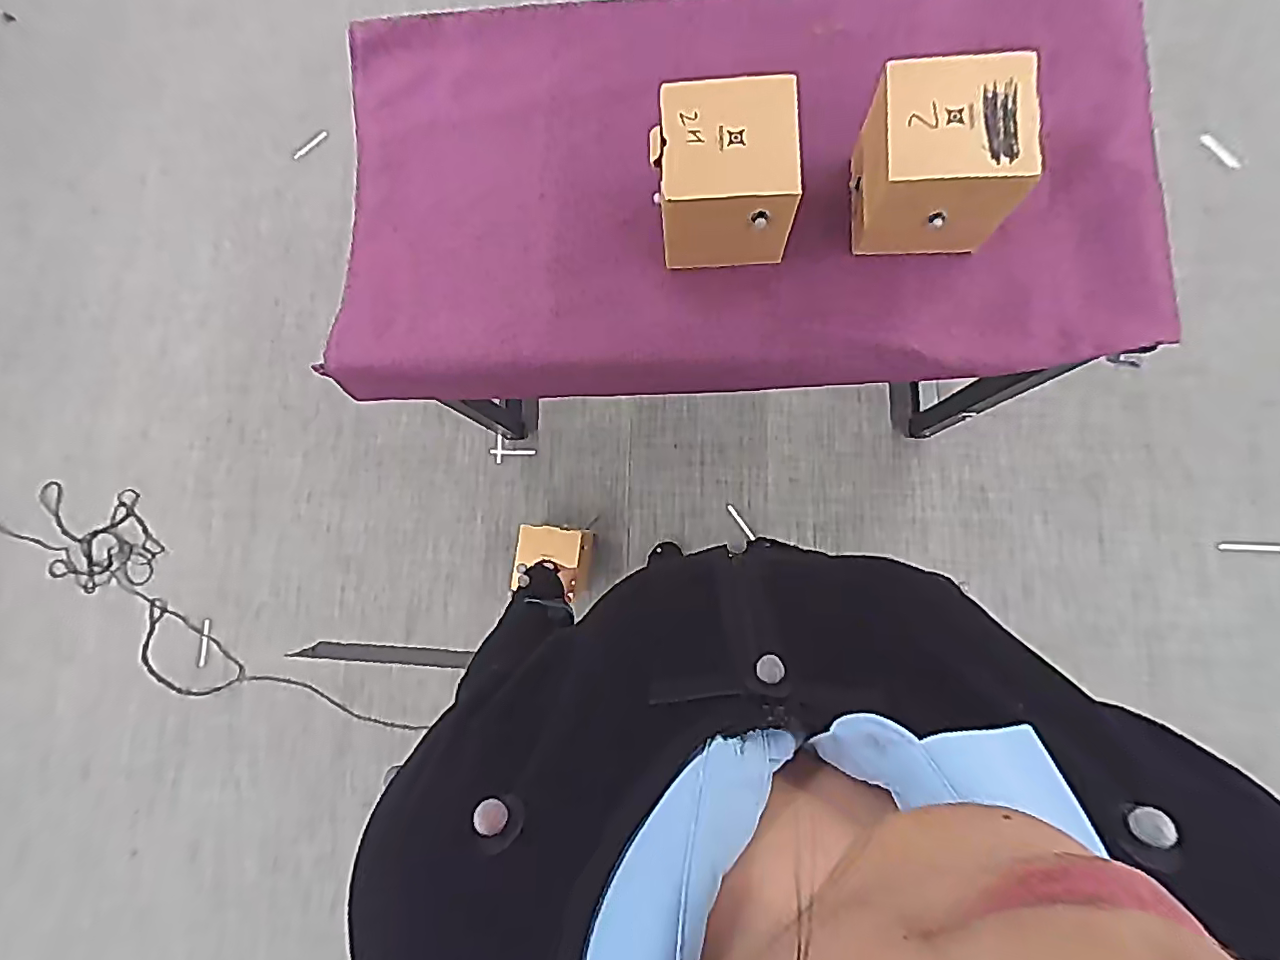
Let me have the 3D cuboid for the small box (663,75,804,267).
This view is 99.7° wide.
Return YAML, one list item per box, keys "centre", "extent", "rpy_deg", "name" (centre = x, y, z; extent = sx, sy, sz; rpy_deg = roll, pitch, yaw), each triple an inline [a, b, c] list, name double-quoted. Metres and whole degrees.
- centre: [0.123, -0.420, 0.760]
  extent: [0.179, 0.176, 0.168]
  rpy_deg: [-1, 82, 6]
  name: "small box"

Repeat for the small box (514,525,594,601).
- centre: [-0.225, 0.219, 1.460]
  extent: [0.168, 0.176, 0.179]
  rpy_deg: [6, 84, 6]
  name: "small box"
